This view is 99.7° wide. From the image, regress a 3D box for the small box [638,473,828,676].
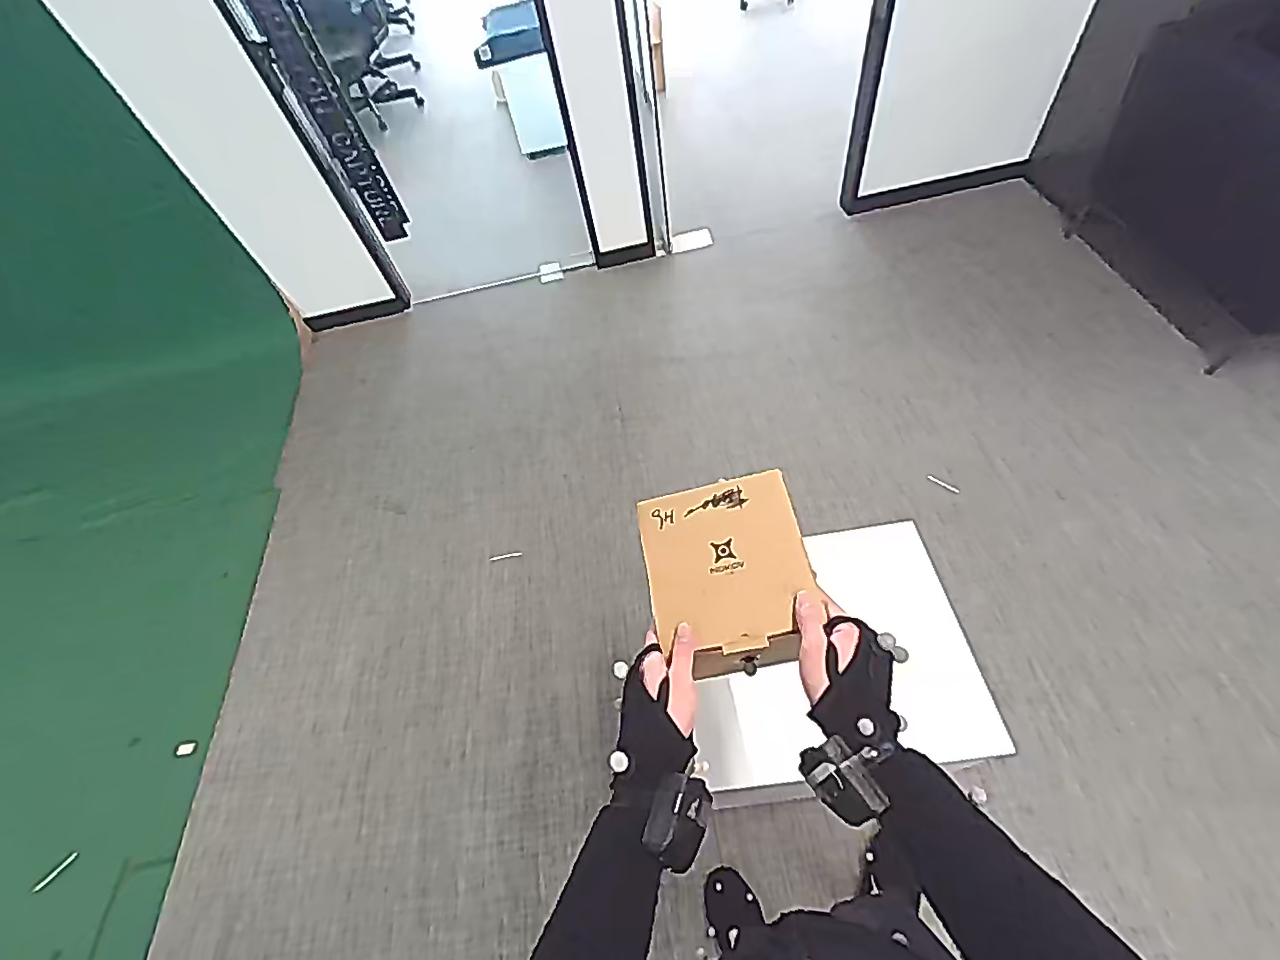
[{"bbox_3d":[0.108,0.122,0.635,0.168,0.176,0.179,-16,60,6],"label":"small box"}]
